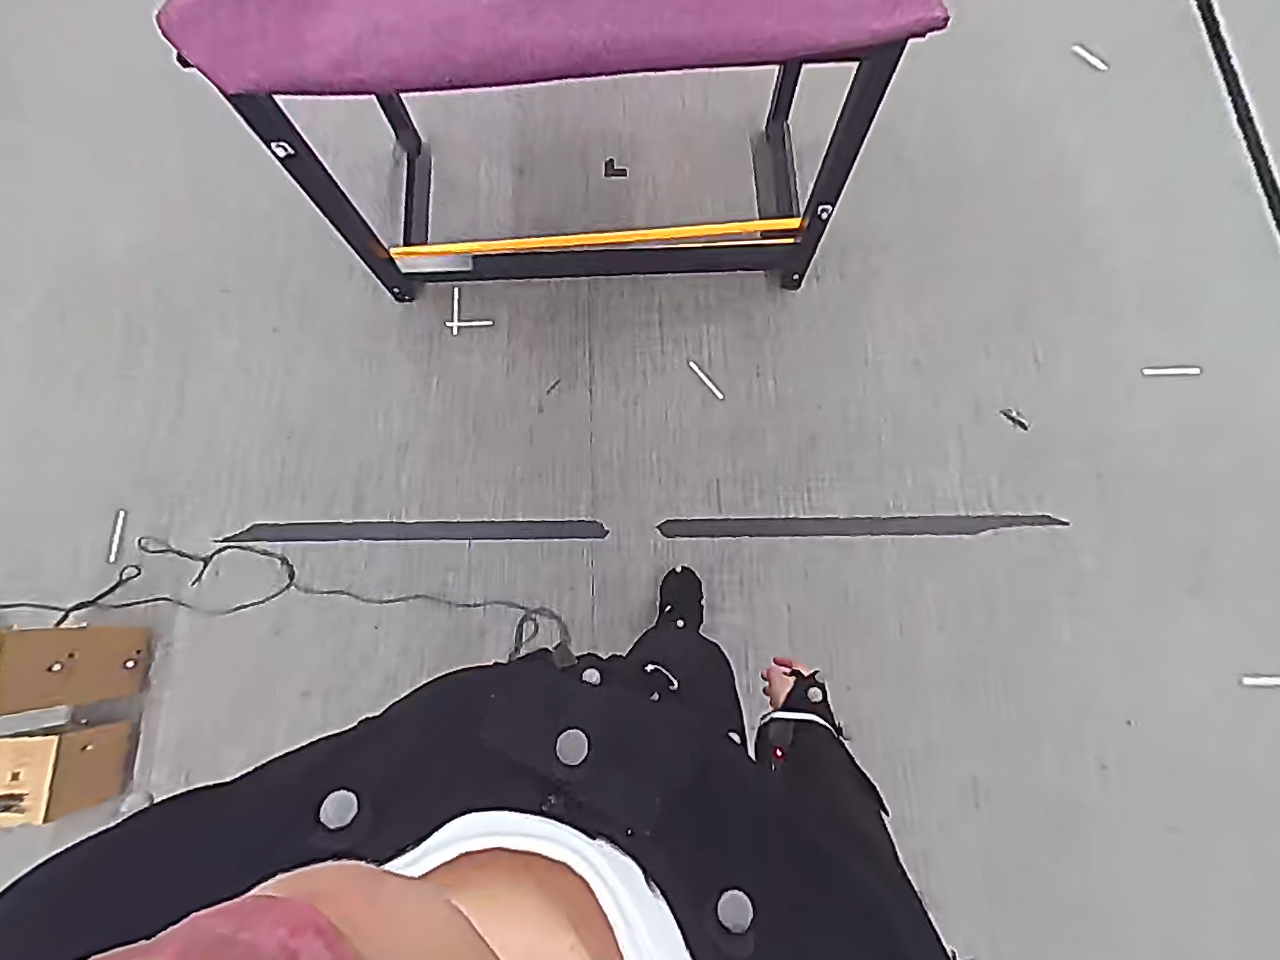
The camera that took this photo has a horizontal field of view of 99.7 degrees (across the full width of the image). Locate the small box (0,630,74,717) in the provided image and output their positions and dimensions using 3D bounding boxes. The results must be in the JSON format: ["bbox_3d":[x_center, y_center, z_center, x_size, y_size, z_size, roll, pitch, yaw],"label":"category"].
[{"bbox_3d":[-1.334,0.396,1.099,0.179,0.176,0.168,-3,77,-1],"label":"small box"}]

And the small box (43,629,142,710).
[{"bbox_3d":[-1.334,0.436,1.259,0.179,0.176,0.168,-2,76,-1],"label":"small box"}]
